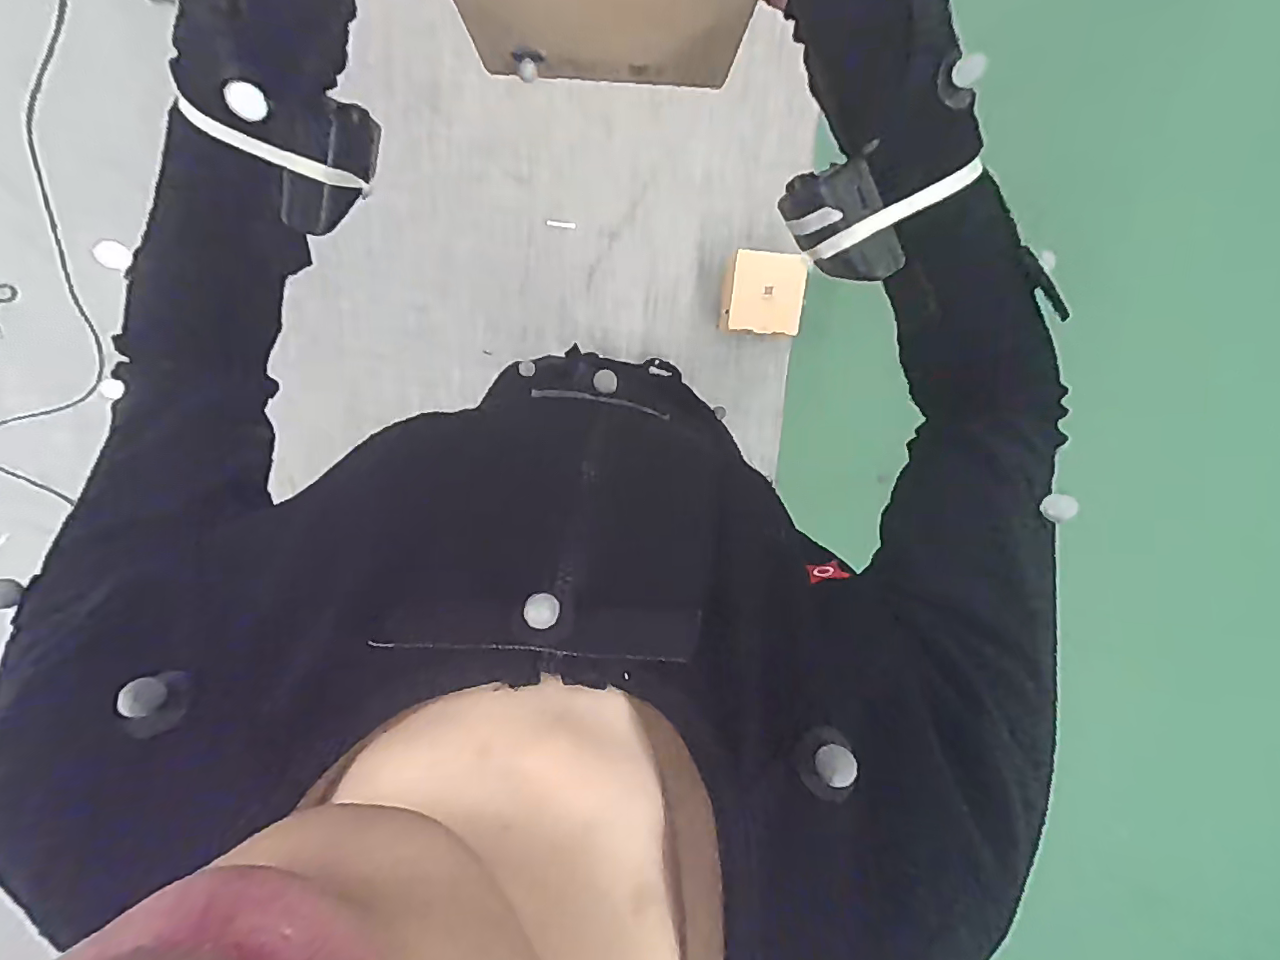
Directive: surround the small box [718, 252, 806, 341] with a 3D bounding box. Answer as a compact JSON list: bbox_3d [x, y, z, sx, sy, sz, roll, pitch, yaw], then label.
[{"bbox_3d":[0.289,-0.439,1.316,0.168,0.176,0.179,5,102,-1],"label":"small box"}]
